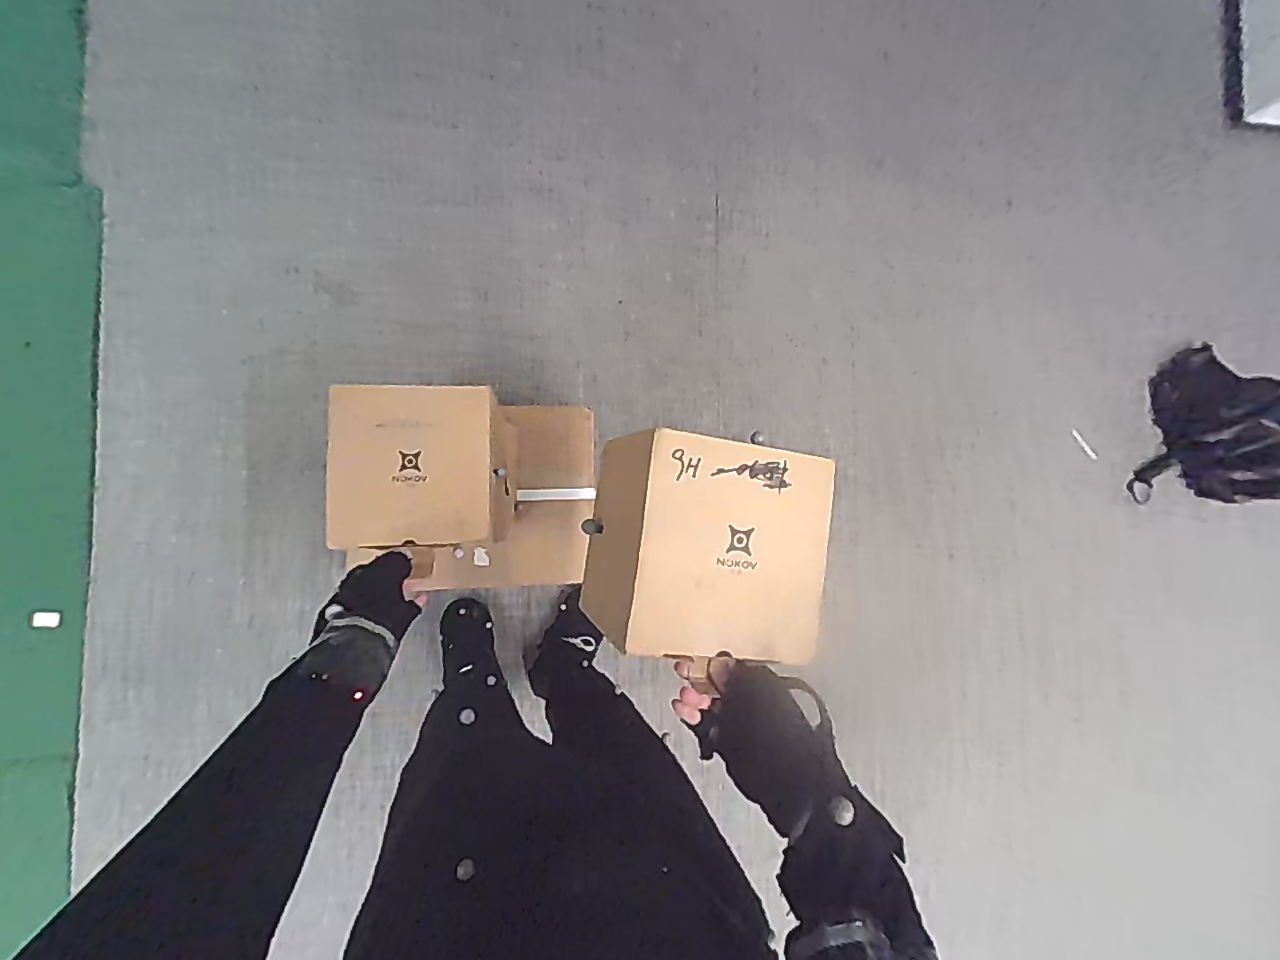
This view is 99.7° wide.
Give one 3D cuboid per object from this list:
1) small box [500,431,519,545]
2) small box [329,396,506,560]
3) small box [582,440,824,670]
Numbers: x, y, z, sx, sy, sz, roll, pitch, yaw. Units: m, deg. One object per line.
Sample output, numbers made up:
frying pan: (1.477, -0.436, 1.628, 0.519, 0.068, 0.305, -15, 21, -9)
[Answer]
small box: (-0.281, 0.008, 0.831, 0.179, 0.176, 0.168, -2, 94, -7)
small box: (-0.256, 0.003, 0.659, 0.168, 0.176, 0.179, -2, 83, -8)
small box: (0.046, 0.064, 0.514, 0.168, 0.176, 0.179, 8, 88, -17)
